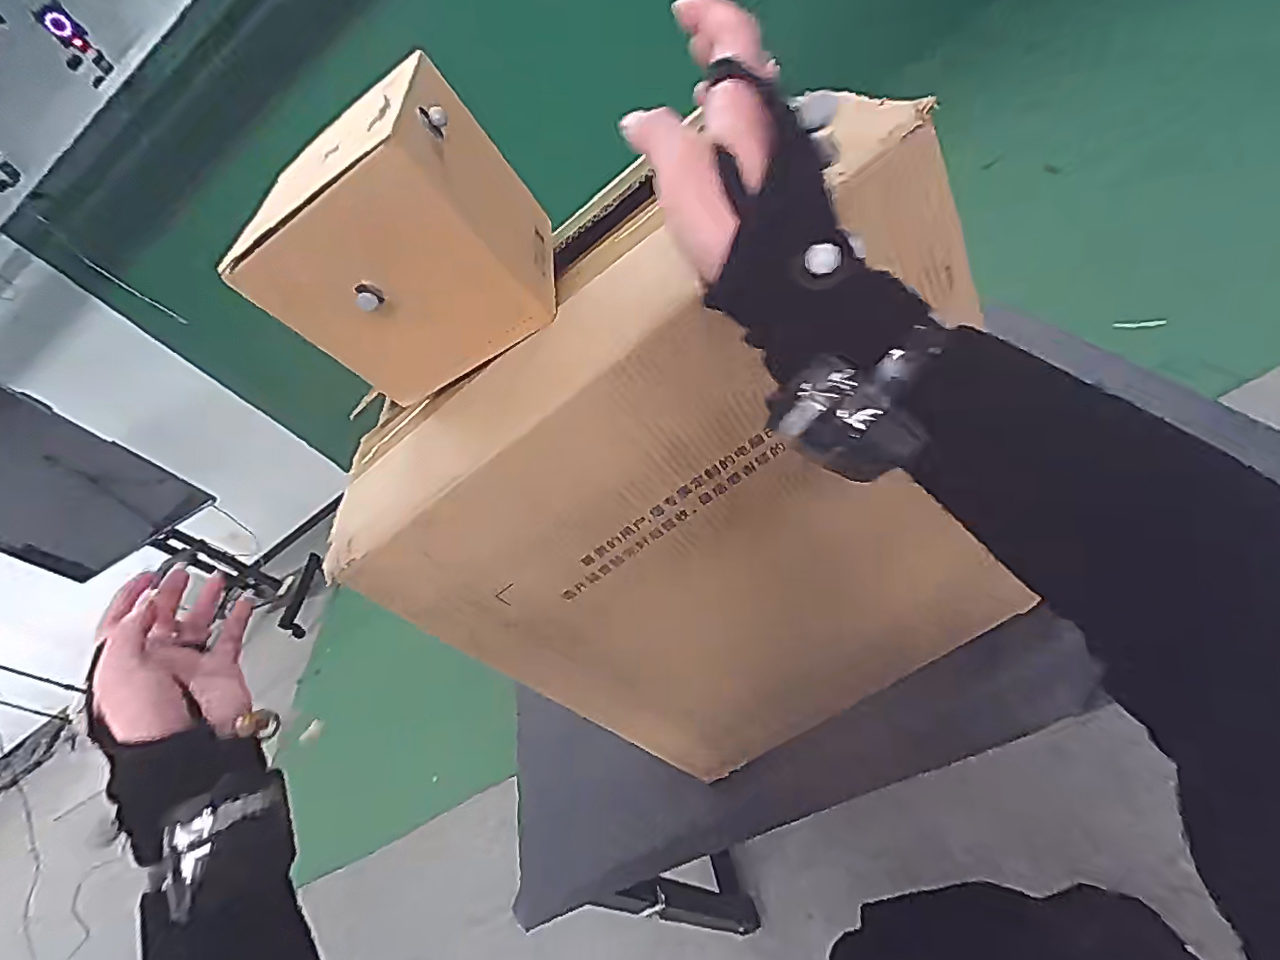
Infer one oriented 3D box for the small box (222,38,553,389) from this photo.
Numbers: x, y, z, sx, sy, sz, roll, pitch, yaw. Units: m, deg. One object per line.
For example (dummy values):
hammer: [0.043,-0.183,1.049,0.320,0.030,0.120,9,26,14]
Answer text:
small box: [-0.195,-0.208,0.461,0.179,0.176,0.168,-24,52,21]
